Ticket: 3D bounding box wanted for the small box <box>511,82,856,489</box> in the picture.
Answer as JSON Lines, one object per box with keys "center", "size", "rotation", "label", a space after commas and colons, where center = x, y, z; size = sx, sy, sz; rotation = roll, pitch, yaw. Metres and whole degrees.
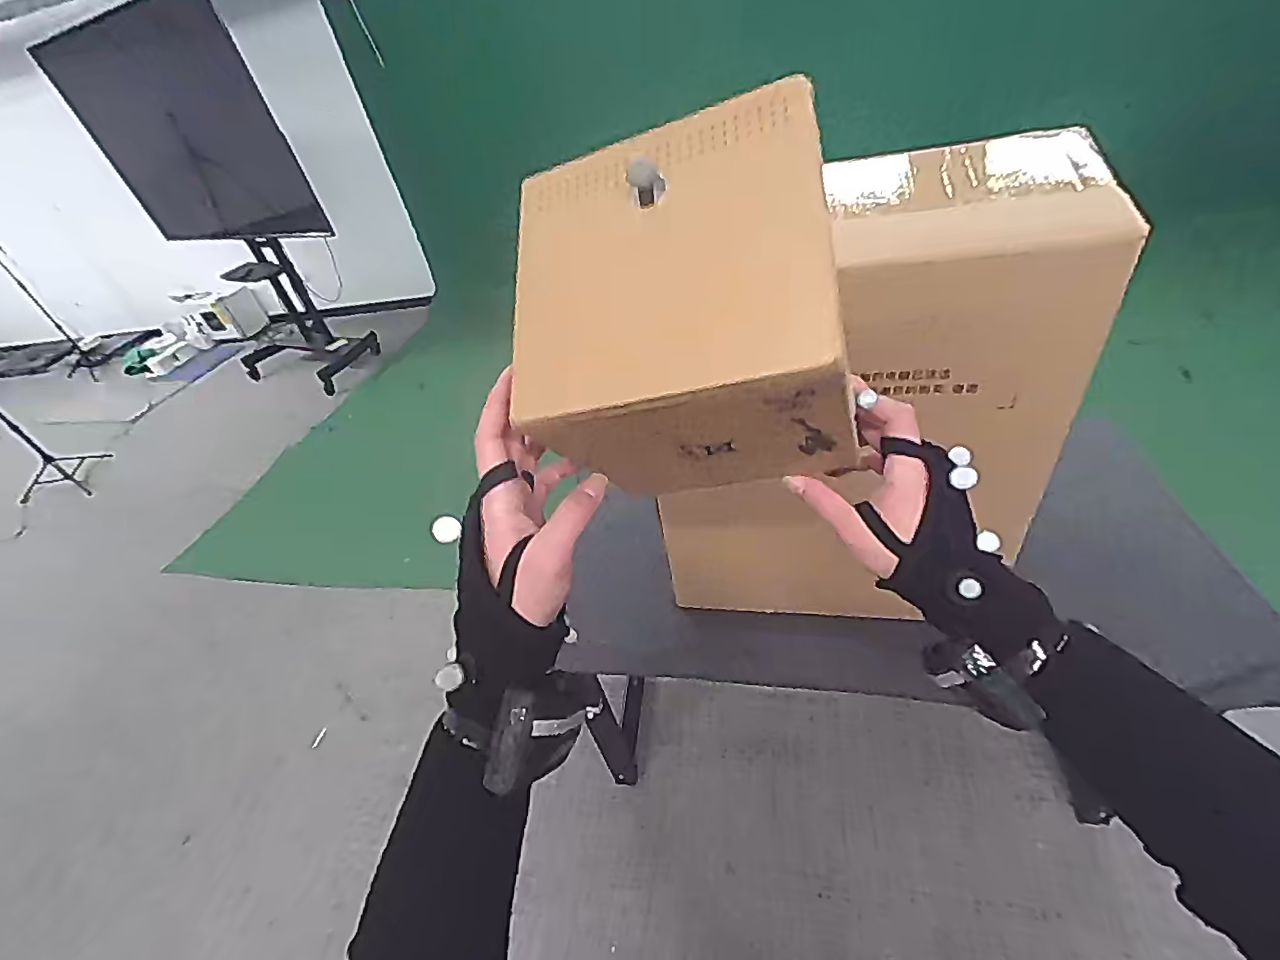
{"center": [0.040, -0.102, 0.355], "size": [0.179, 0.168, 0.176], "rotation": [-7, 73, 22], "label": "small box"}
